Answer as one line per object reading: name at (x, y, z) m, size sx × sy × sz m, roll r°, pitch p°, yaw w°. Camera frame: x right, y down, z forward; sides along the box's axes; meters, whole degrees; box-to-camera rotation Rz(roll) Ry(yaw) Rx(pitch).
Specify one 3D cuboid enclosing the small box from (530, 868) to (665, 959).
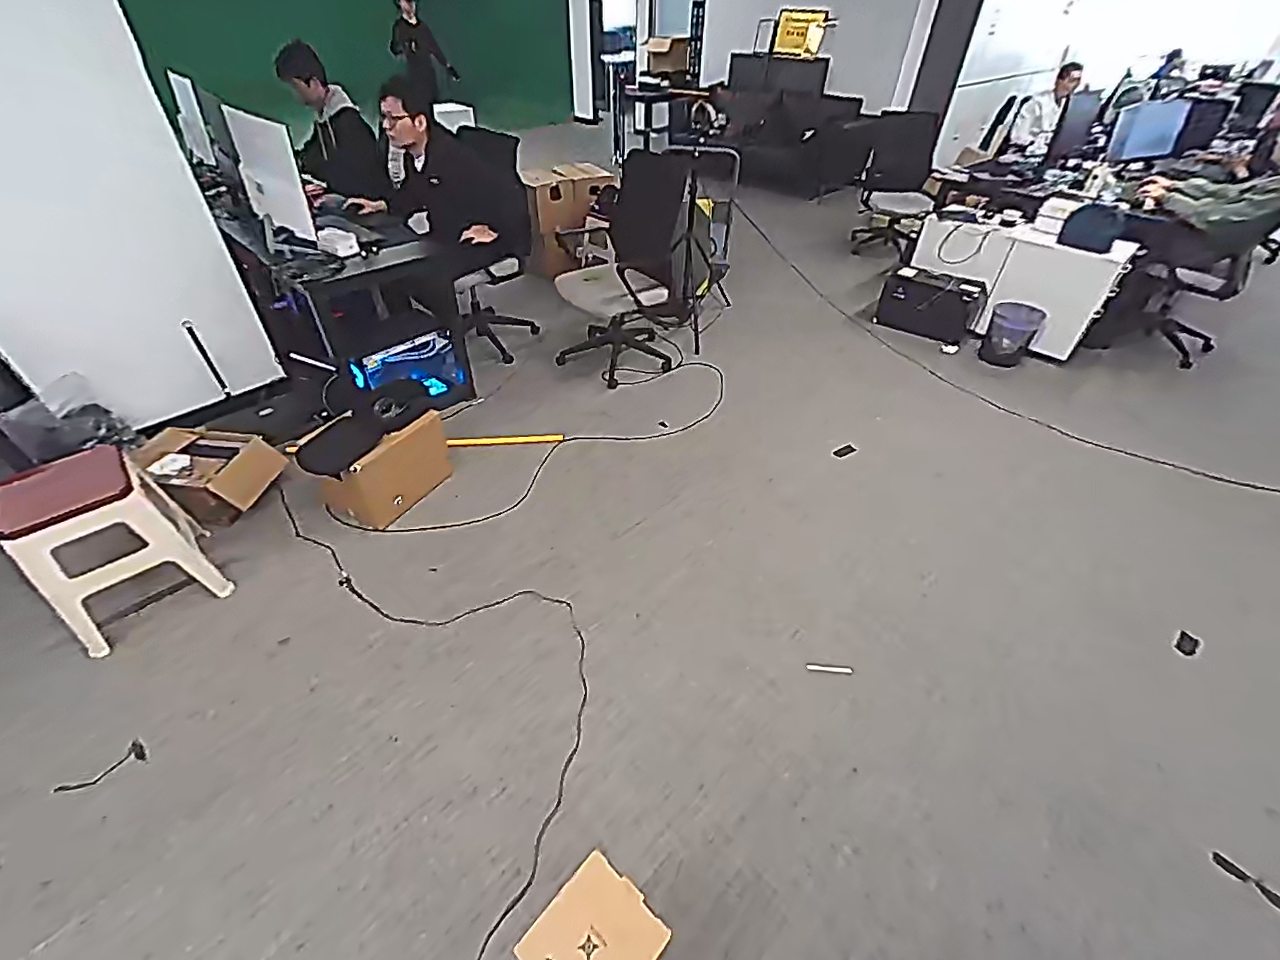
small box at (-0.073, 0.857, 0.967) m, size 0.168 × 0.176 × 0.179 m, roll 29°, pitch 46°, yaw 26°
